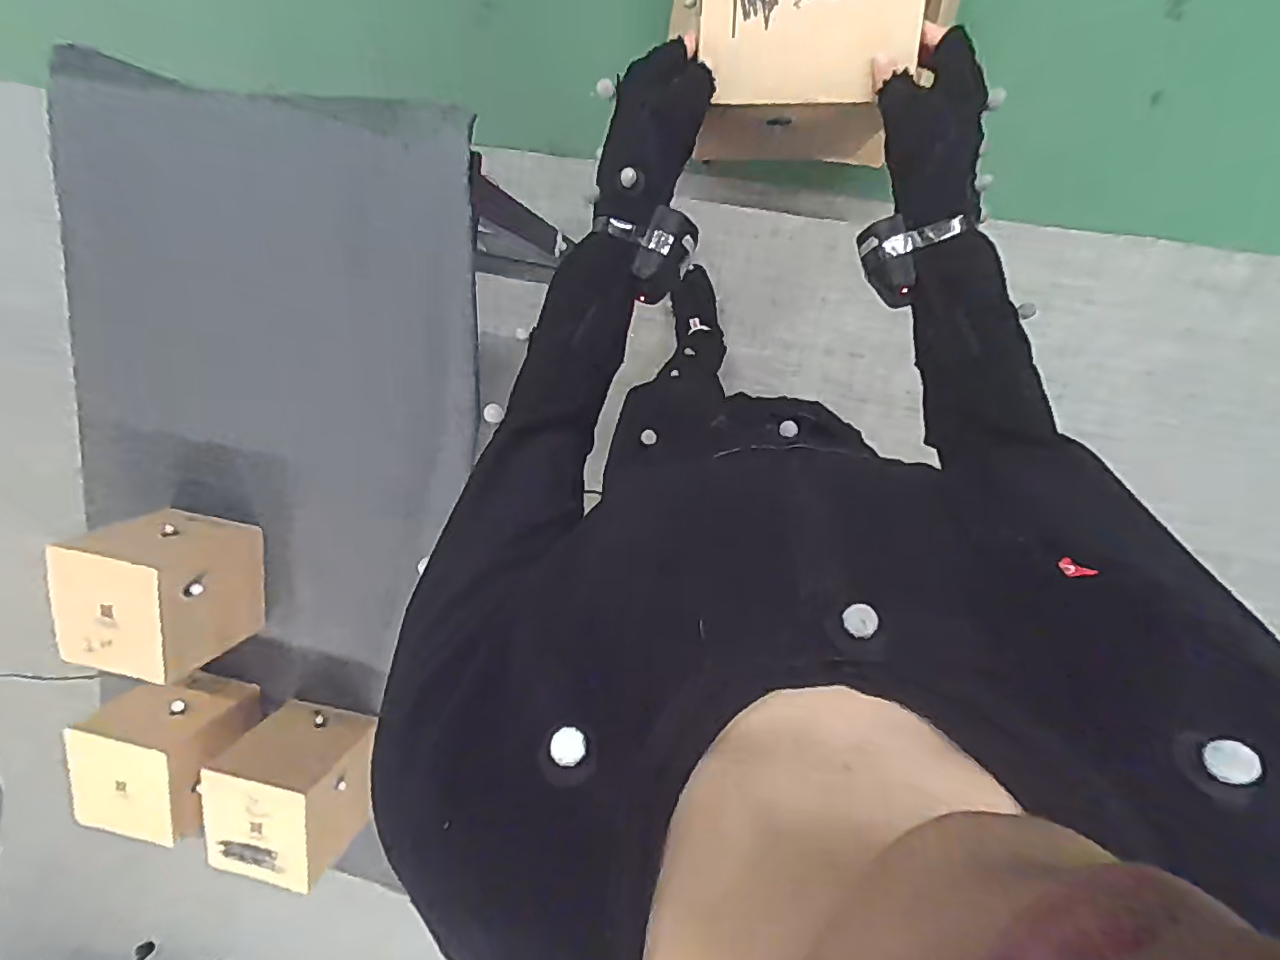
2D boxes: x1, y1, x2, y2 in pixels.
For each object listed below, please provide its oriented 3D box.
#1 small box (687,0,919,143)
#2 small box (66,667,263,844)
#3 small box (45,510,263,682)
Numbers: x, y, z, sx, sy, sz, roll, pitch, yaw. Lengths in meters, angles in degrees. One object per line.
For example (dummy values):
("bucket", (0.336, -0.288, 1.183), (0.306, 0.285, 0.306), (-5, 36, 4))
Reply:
("small box", (0.133, -0.416, 0.483), (0.179, 0.176, 0.168), (2, 108, 4))
("small box", (-0.742, 0.425, 0.864), (0.168, 0.176, 0.179), (10, 106, 6))
("small box", (-0.686, 0.155, 0.785), (0.168, 0.176, 0.179), (11, 105, 6))
